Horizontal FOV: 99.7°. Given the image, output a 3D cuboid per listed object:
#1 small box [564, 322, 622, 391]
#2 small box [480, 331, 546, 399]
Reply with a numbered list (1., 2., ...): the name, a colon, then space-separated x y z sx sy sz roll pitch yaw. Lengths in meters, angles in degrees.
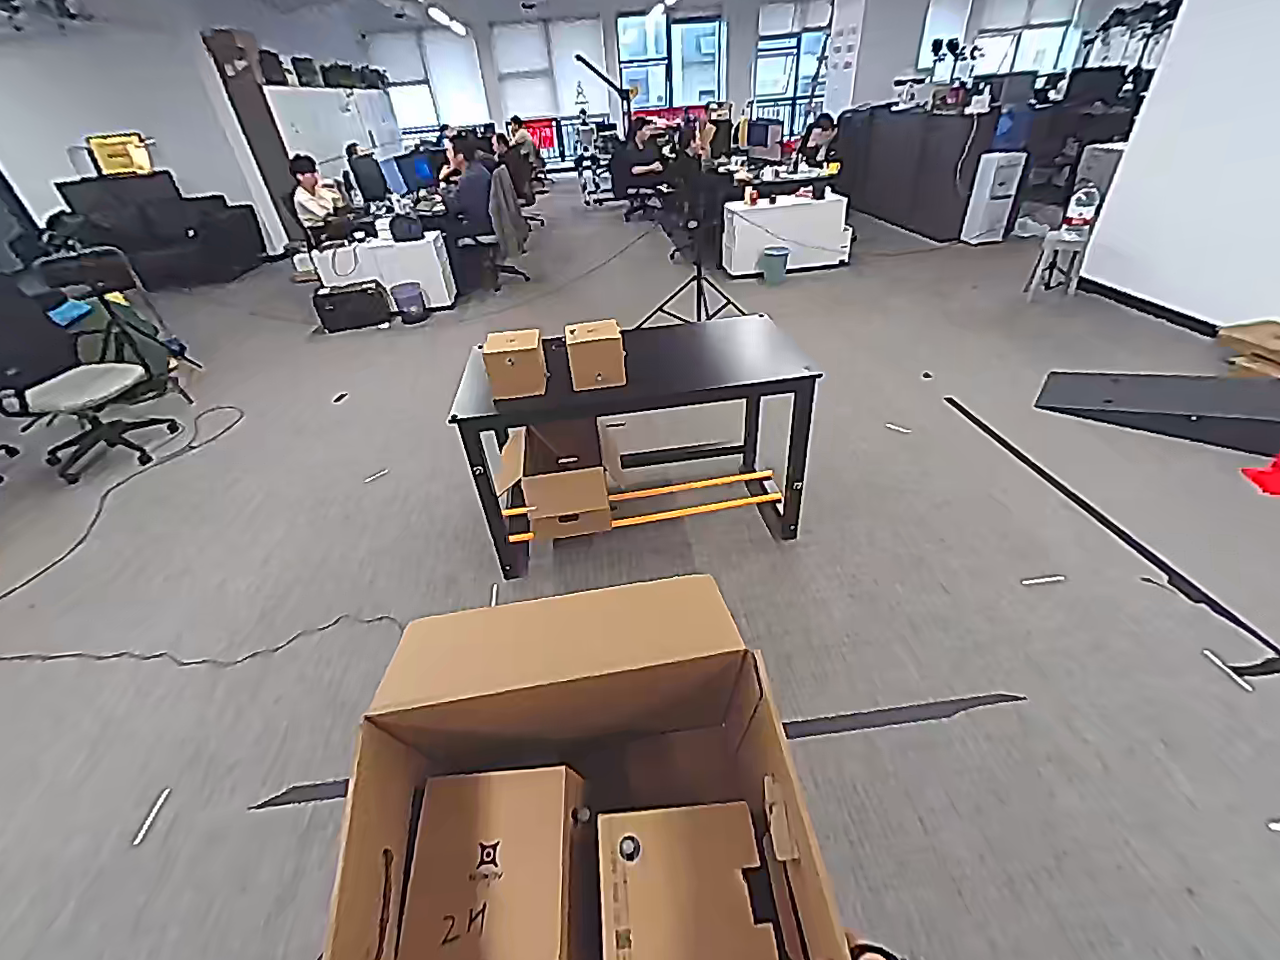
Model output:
1. small box: -0.155 -0.411 1.804 0.179 0.176 0.168 -8 35 -5
2. small box: -0.416 -0.378 1.791 0.179 0.176 0.168 -6 37 -4
